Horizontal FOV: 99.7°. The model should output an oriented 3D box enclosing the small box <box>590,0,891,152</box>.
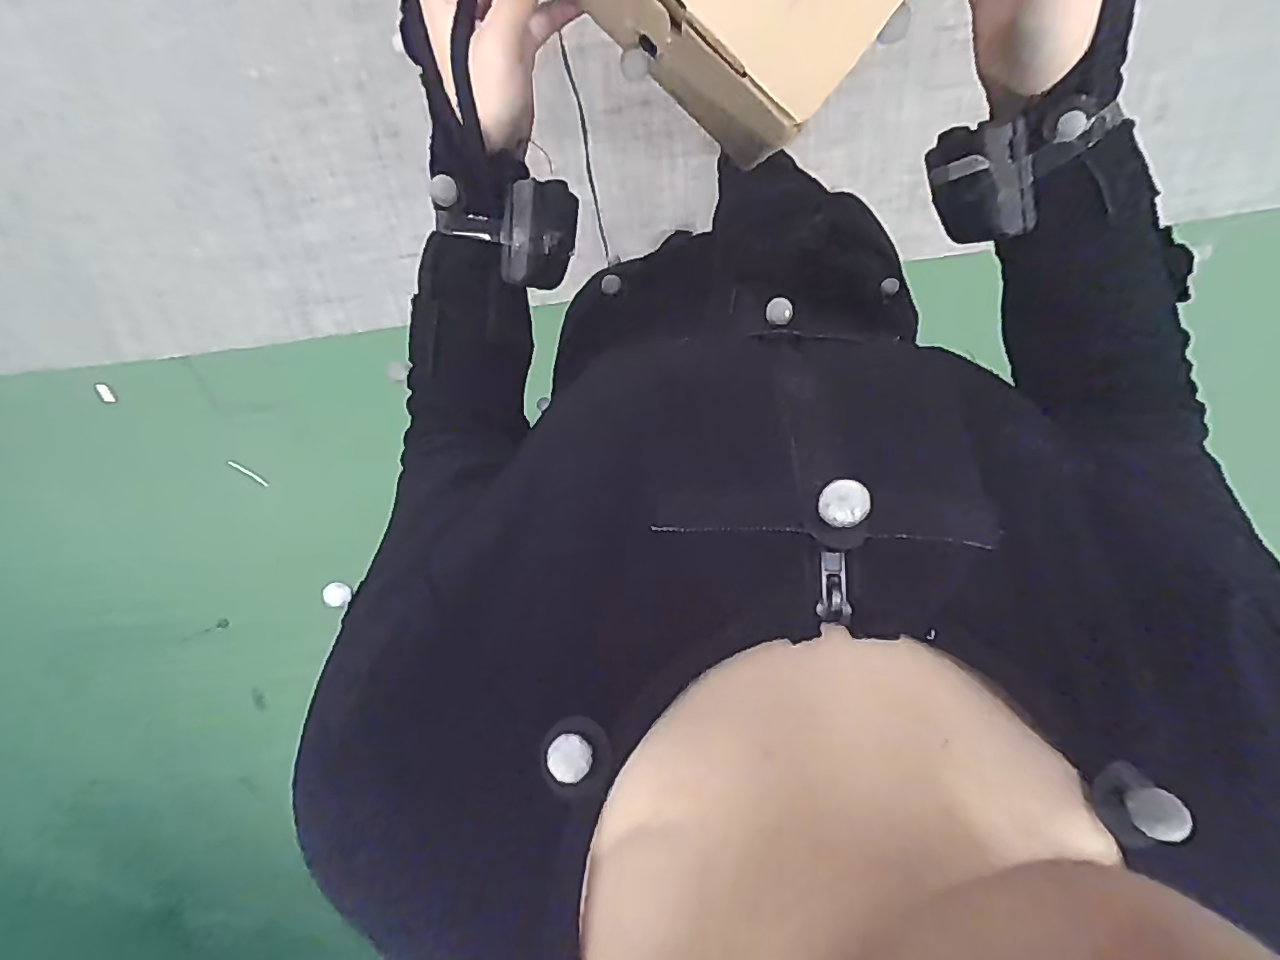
[{"bbox_3d":[0.059,-0.283,0.244,0.168,0.176,0.179,37,113,-13],"label":"small box"}]
